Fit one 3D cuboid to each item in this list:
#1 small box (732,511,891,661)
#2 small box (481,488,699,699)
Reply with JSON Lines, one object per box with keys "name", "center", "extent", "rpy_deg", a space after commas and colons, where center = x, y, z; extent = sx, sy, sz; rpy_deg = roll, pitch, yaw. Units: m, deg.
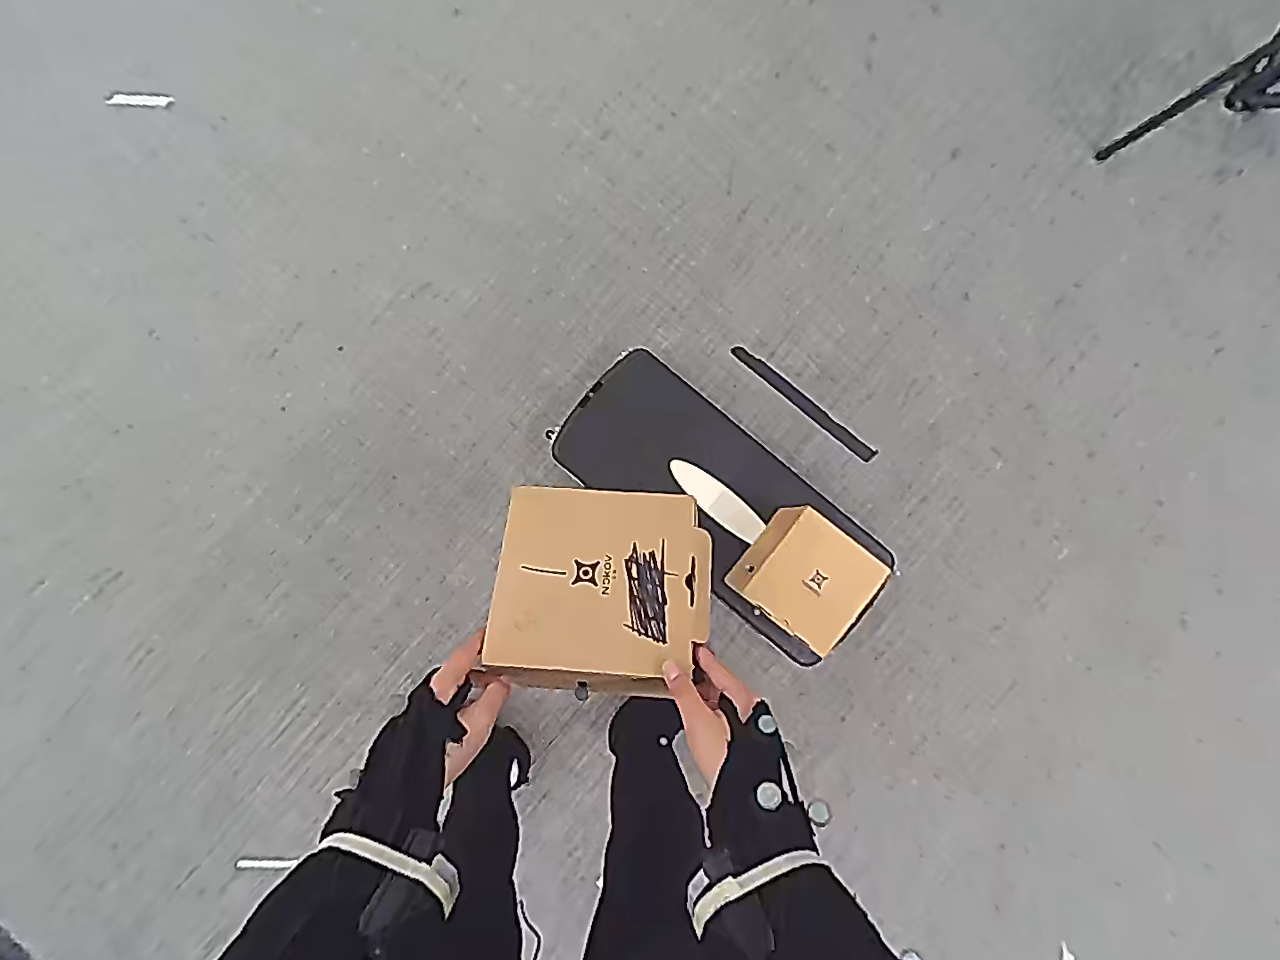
{"name": "small box", "center": [0.276, 0.167, 0.917], "extent": [0.168, 0.176, 0.179], "rpy_deg": [38, 88, 2]}
{"name": "small box", "center": [-0.037, 0.121, 0.541], "extent": [0.179, 0.176, 0.168], "rpy_deg": [3, 63, 2]}
